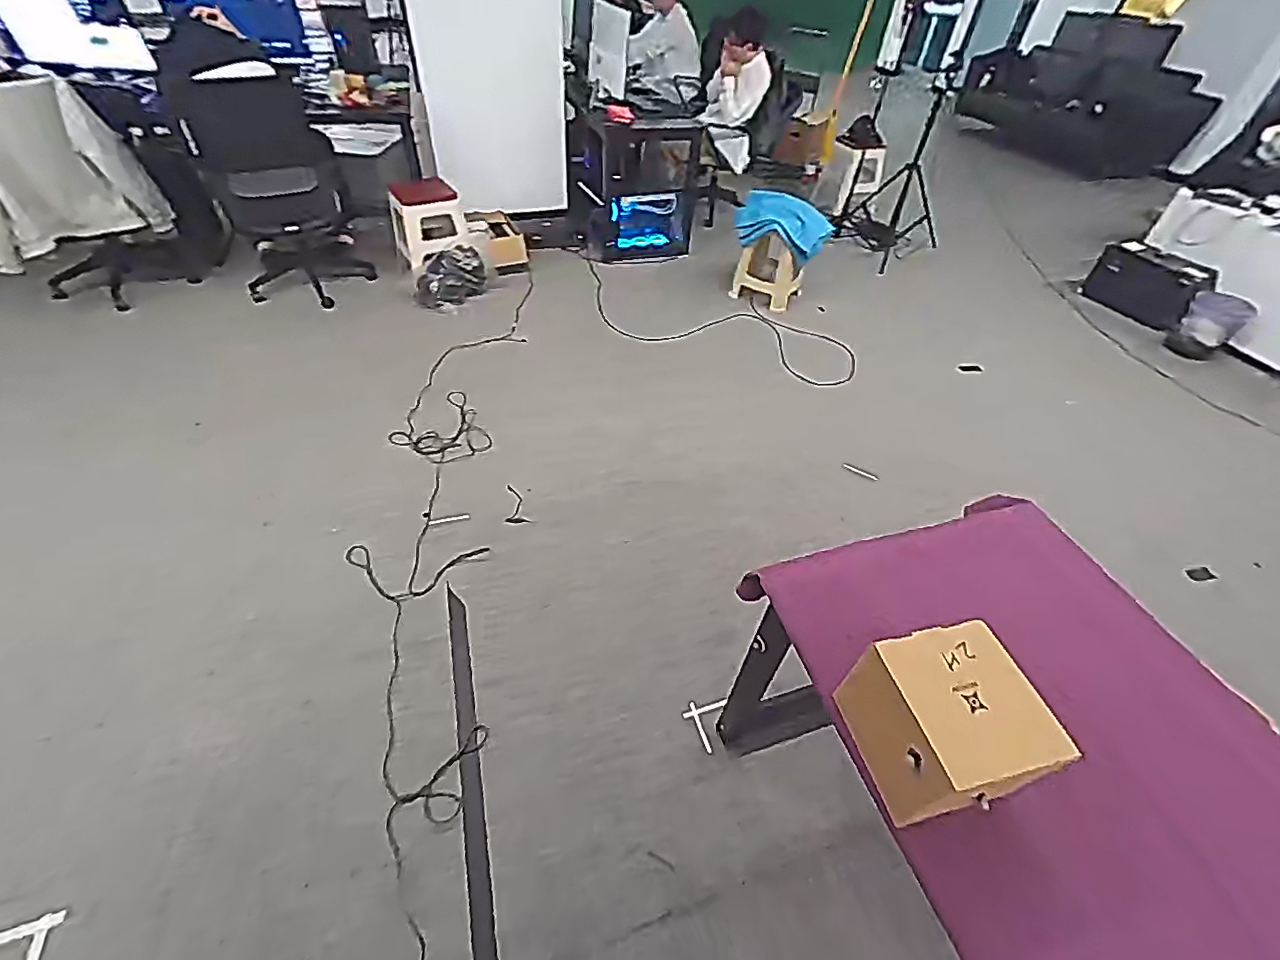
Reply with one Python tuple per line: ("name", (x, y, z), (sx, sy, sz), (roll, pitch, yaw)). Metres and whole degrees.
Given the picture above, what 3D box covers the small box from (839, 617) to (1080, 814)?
("small box", (0.388, 0.307, 0.697), (0.168, 0.176, 0.179), (-8, 47, -12))
